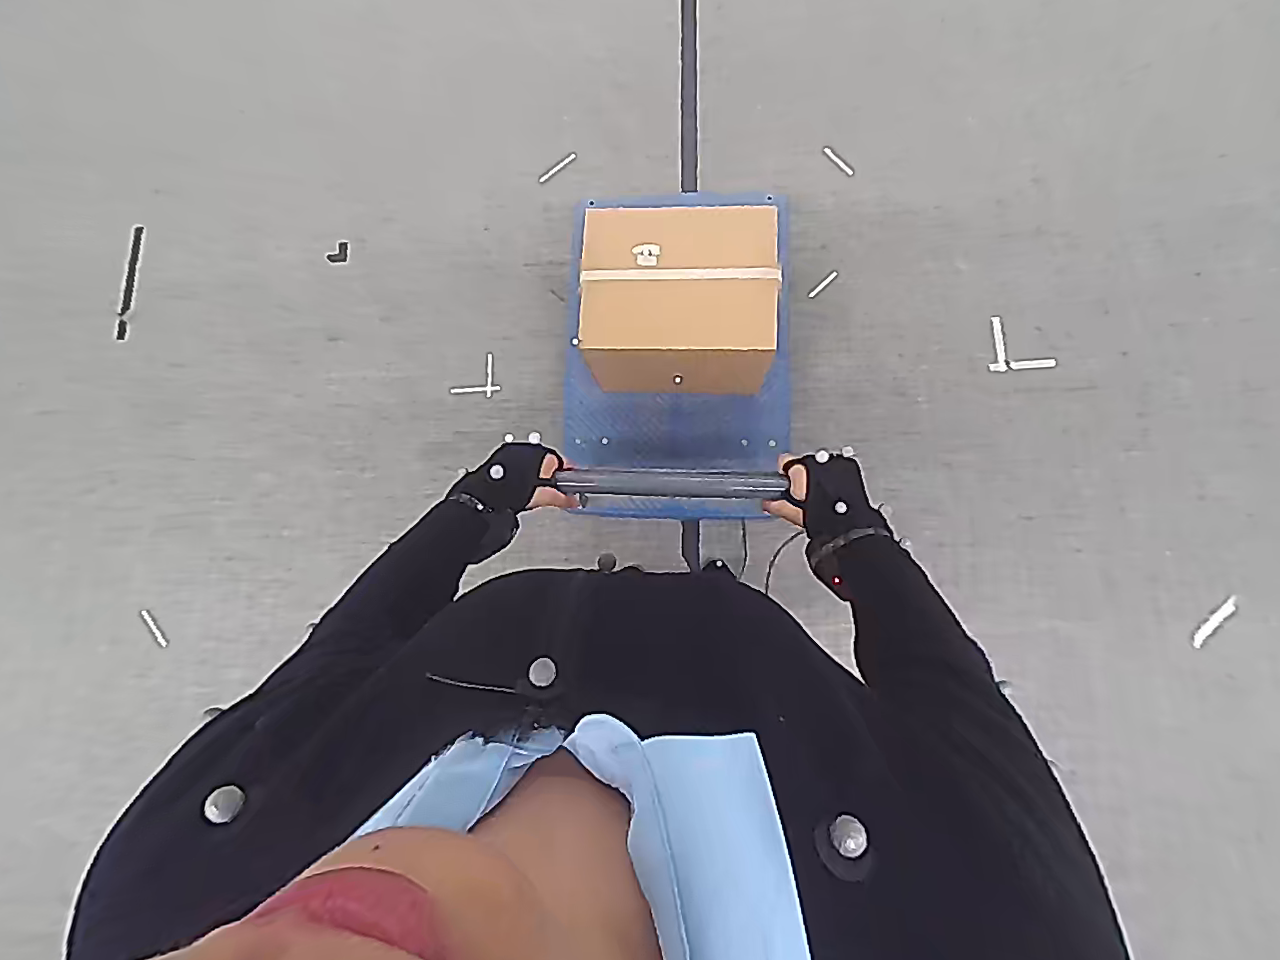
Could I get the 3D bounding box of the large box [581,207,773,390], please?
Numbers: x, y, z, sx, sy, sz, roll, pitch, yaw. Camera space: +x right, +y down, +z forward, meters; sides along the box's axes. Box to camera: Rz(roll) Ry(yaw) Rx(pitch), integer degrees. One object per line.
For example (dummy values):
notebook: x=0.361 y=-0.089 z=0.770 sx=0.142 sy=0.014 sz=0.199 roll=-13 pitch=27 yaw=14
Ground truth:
large box: x=0.093 y=-0.402 z=1.280 sx=0.408 sy=0.320 sz=0.320 roll=1 pitch=81 yaw=6
